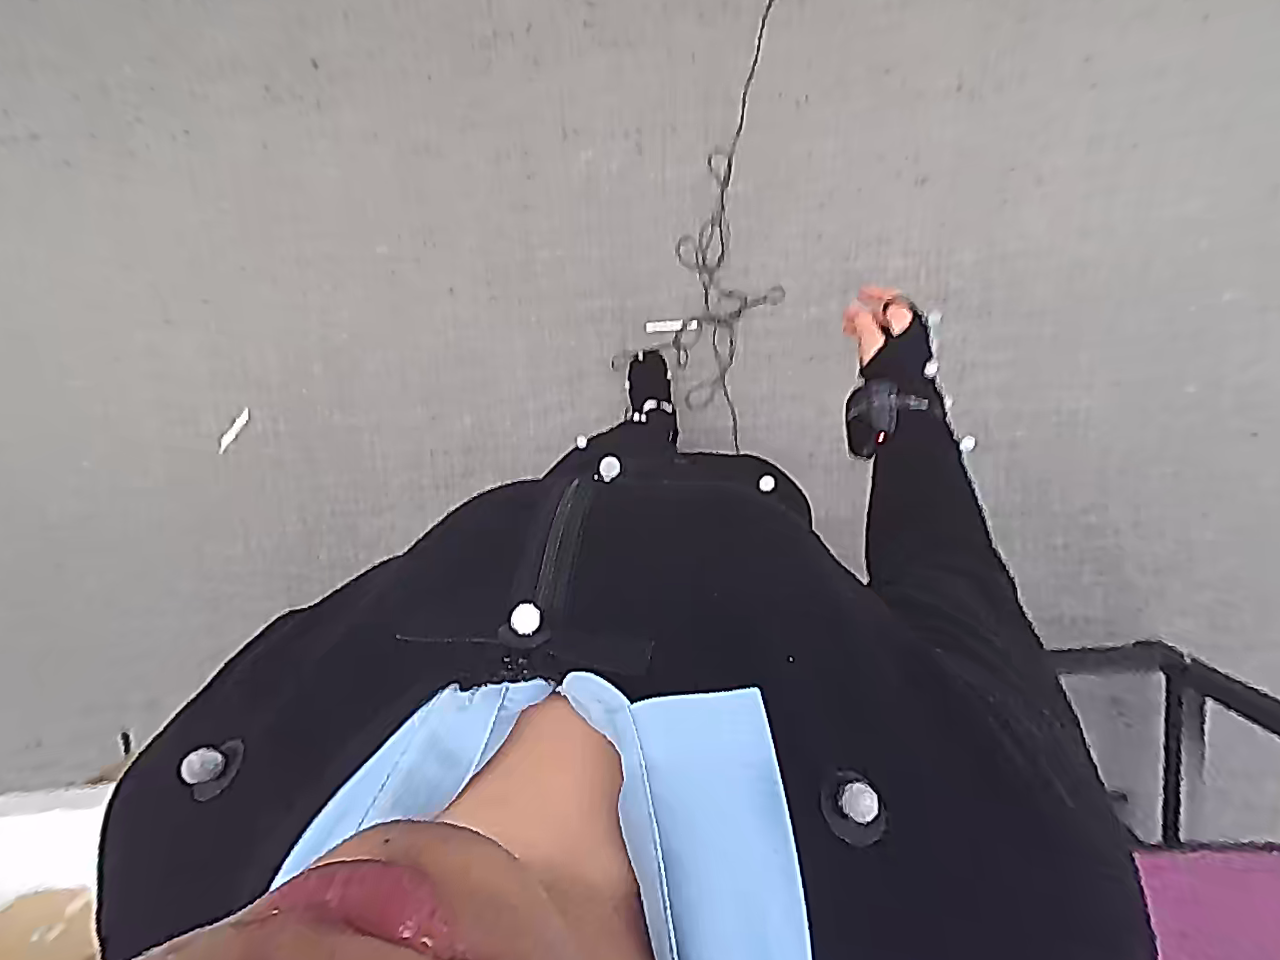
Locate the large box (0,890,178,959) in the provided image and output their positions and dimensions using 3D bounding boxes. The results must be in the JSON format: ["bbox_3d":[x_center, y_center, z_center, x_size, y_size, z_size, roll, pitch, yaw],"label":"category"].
[{"bbox_3d":[-1.017,0.986,0.891,0.320,0.320,0.408,-7,98,7],"label":"large box"}]
